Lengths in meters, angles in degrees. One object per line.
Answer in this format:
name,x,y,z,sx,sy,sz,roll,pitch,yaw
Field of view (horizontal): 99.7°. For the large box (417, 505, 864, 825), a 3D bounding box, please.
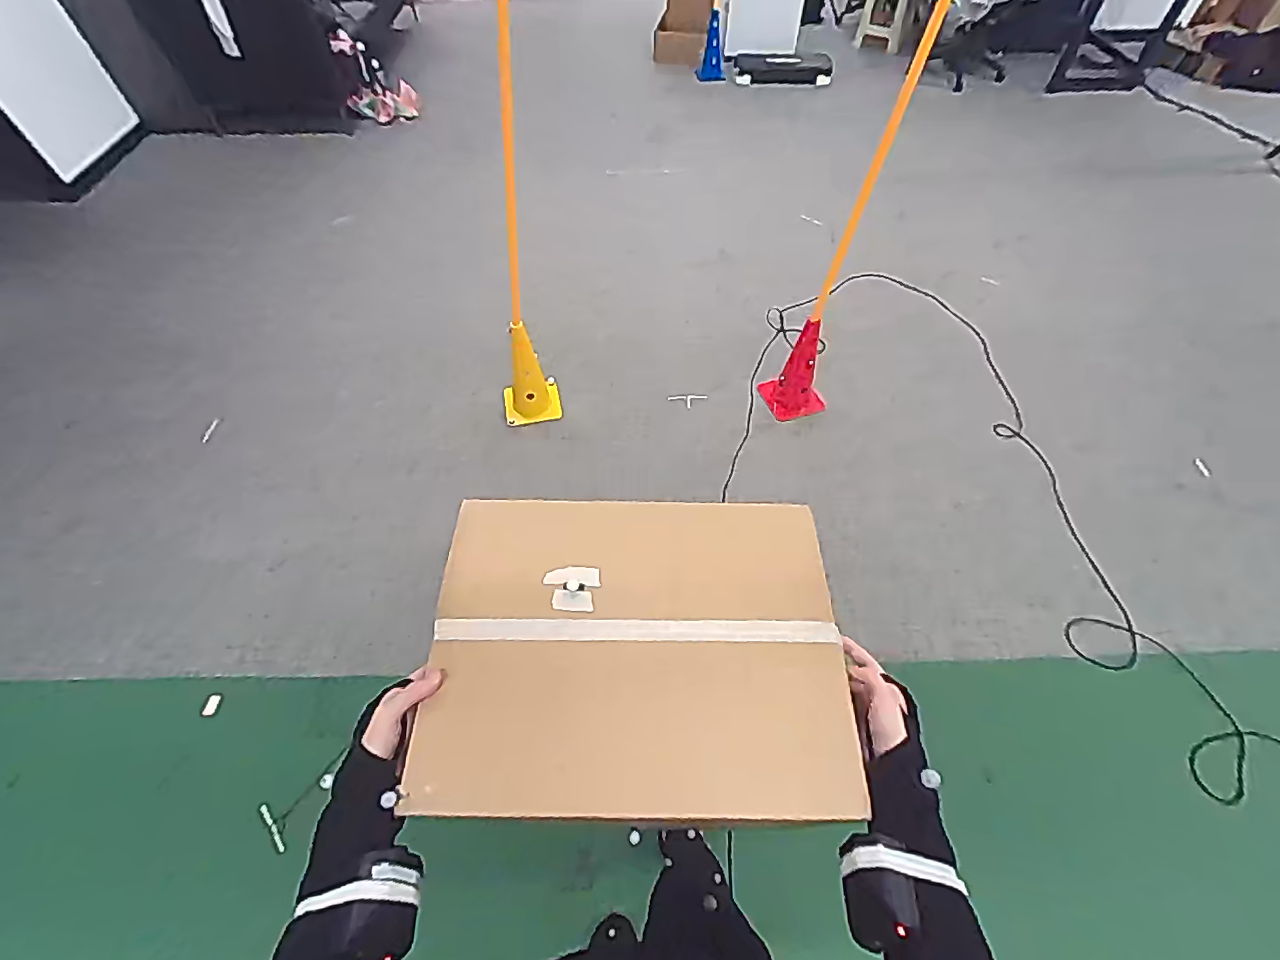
large box,0.001,0.244,0.681,0.408,0.320,0.320,-1,54,0
